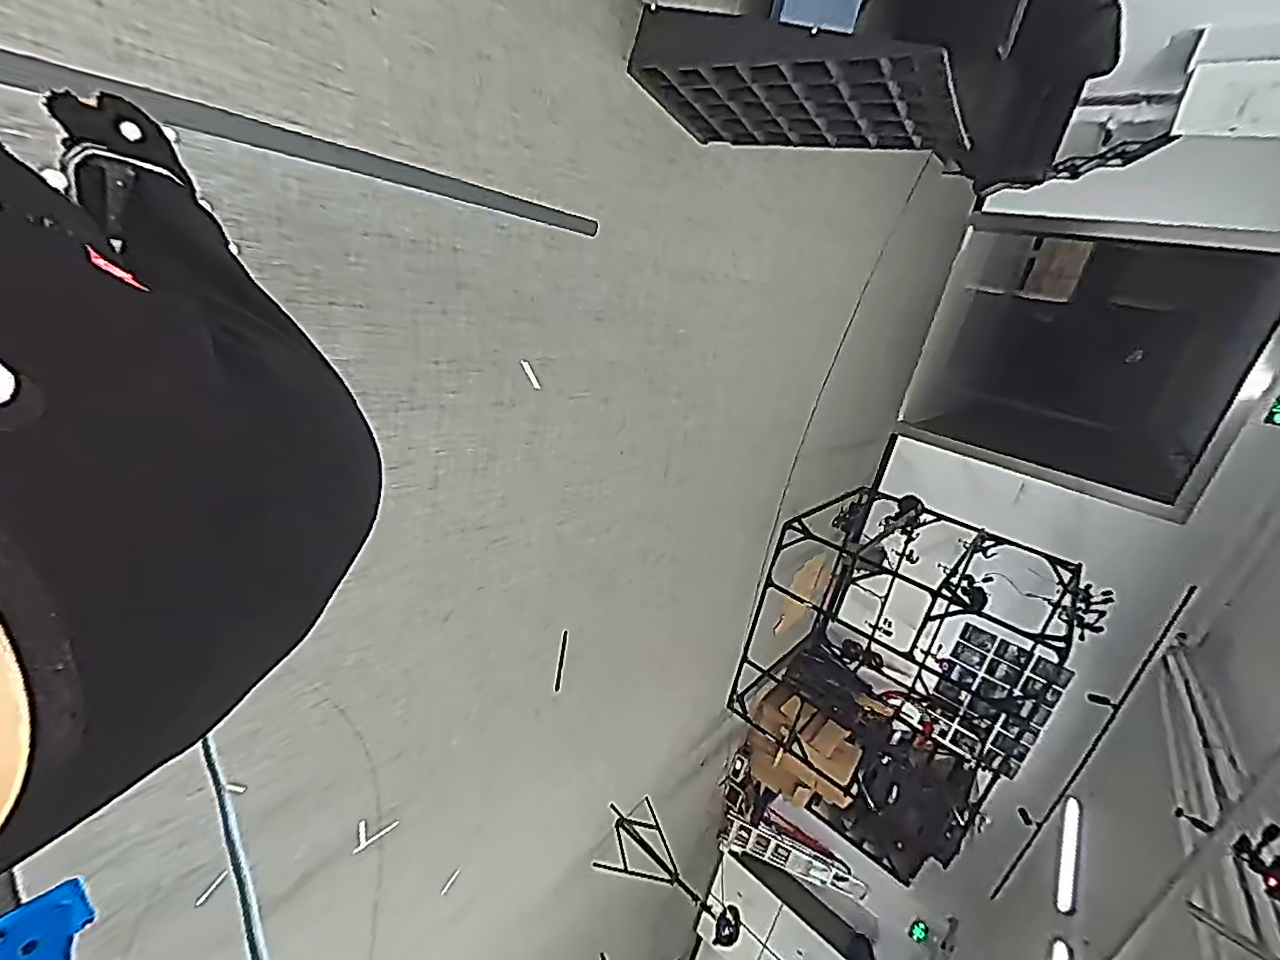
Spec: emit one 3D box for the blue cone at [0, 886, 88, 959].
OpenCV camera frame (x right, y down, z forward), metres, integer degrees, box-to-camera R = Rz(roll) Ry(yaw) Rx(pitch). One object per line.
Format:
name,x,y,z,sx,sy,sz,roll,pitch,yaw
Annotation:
blue cone,-1.411,1.198,1.268,0.192,0.380,0.193,-18,126,-49
